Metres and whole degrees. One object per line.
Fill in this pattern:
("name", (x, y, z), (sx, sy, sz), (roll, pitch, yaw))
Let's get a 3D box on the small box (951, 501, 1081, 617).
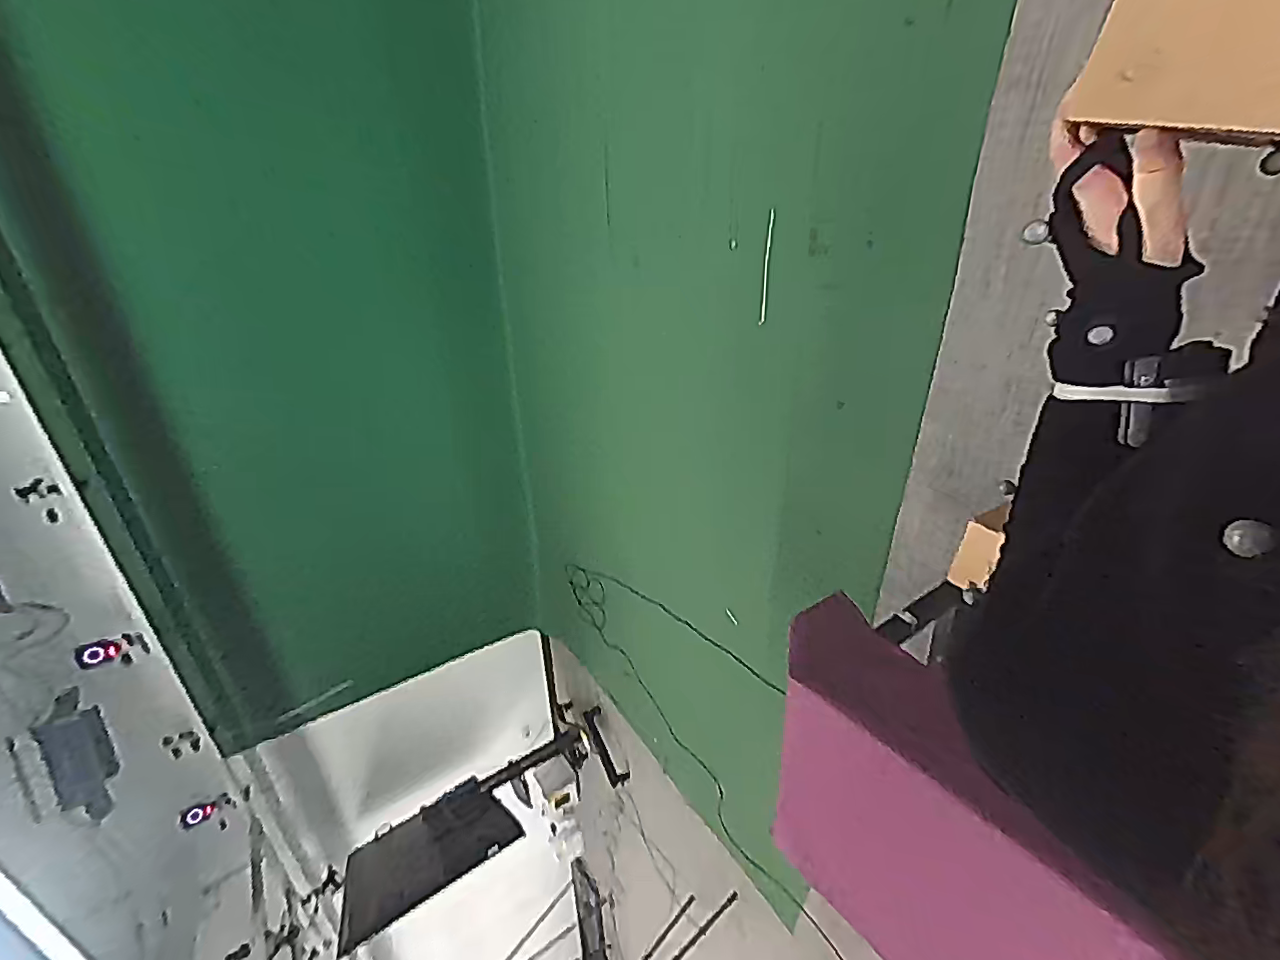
("small box", (0.857, 0.170, 1.231), (0.168, 0.176, 0.179), (38, 134, 45))
